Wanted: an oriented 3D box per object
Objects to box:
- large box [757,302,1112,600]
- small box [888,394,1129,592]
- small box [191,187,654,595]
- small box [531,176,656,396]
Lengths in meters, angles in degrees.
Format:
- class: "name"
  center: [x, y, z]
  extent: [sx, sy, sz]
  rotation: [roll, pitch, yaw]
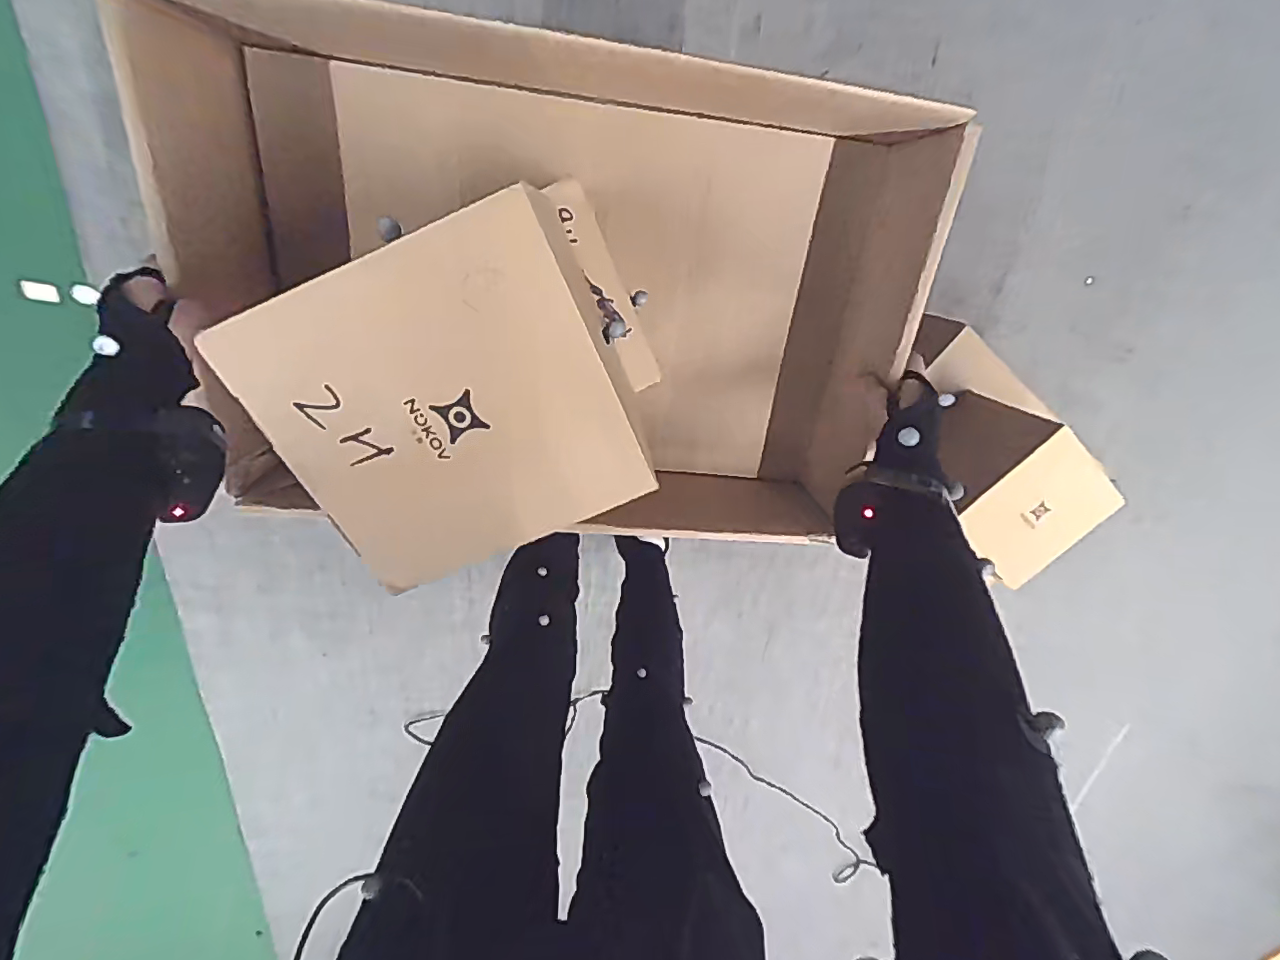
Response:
- class: "large box"
  center: [0.491, -0.063, 0.973]
  extent: [0.408, 0.320, 0.320]
  rotation: [33, 108, -20]
- class: "small box"
  center: [0.484, 0.009, 0.736]
  extent: [0.168, 0.176, 0.179]
  rotation: [37, 105, -20]
- class: "small box"
  center: [-0.107, -0.064, 0.347]
  extent: [0.179, 0.176, 0.168]
  rotation: [-22, 114, 6]
- class: "small box"
  center: [-0.100, -0.147, 0.491]
  extent: [0.179, 0.176, 0.168]
  rotation: [-23, 116, 6]
